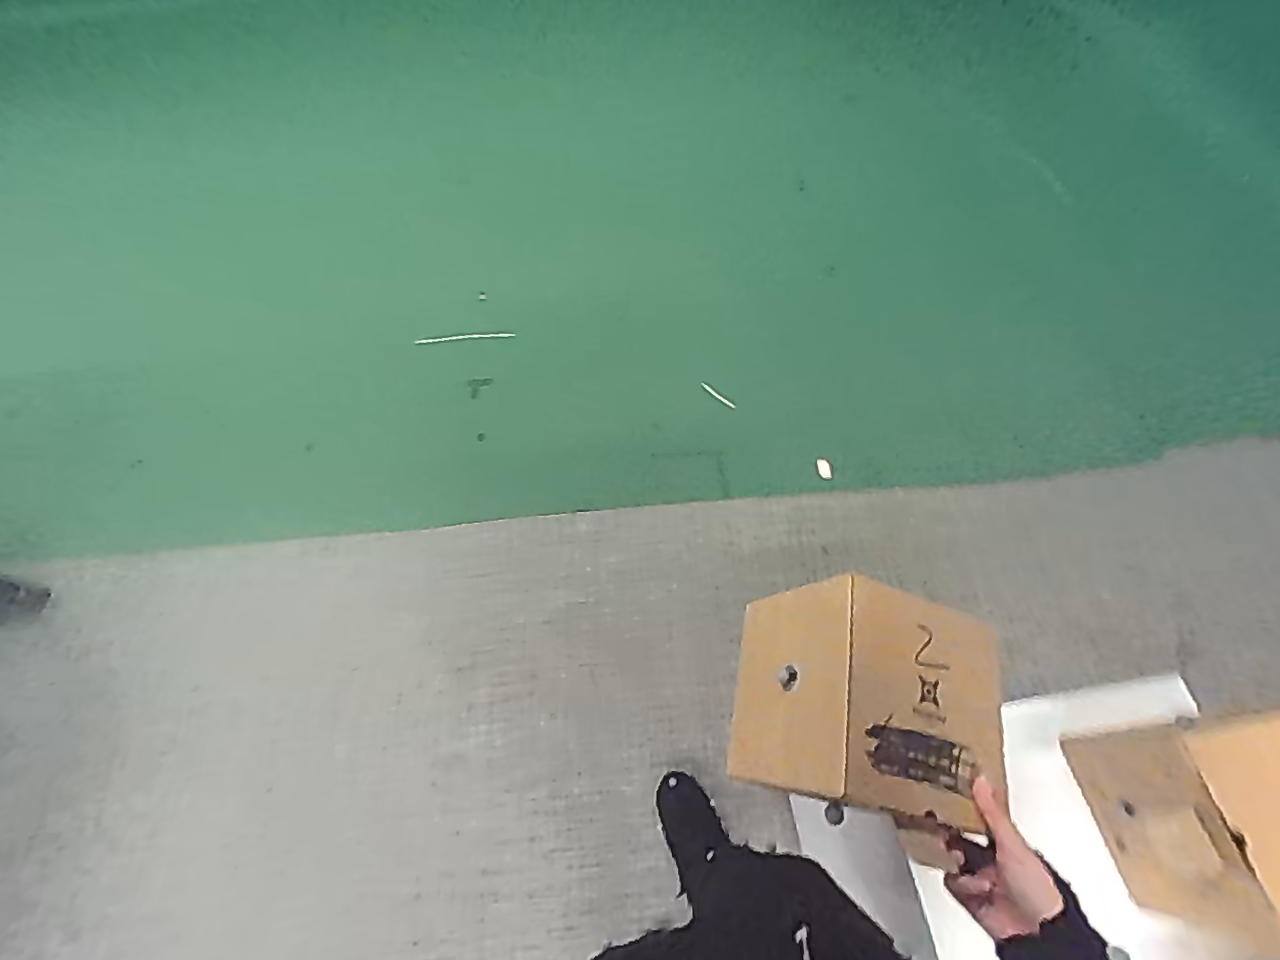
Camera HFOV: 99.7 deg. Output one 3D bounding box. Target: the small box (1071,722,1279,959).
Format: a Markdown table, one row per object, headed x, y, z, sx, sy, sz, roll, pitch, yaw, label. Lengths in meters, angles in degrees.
| x | y | z | sx | sy | sz | roll | pitch | yaw | label |
| --- | --- | --- | --- | --- | --- | --- | --- | --- | --- |
| 0.584 | 0.333 | 0.521 | 0.179 | 0.176 | 0.168 | -9 | 63 | -1 | small box |
